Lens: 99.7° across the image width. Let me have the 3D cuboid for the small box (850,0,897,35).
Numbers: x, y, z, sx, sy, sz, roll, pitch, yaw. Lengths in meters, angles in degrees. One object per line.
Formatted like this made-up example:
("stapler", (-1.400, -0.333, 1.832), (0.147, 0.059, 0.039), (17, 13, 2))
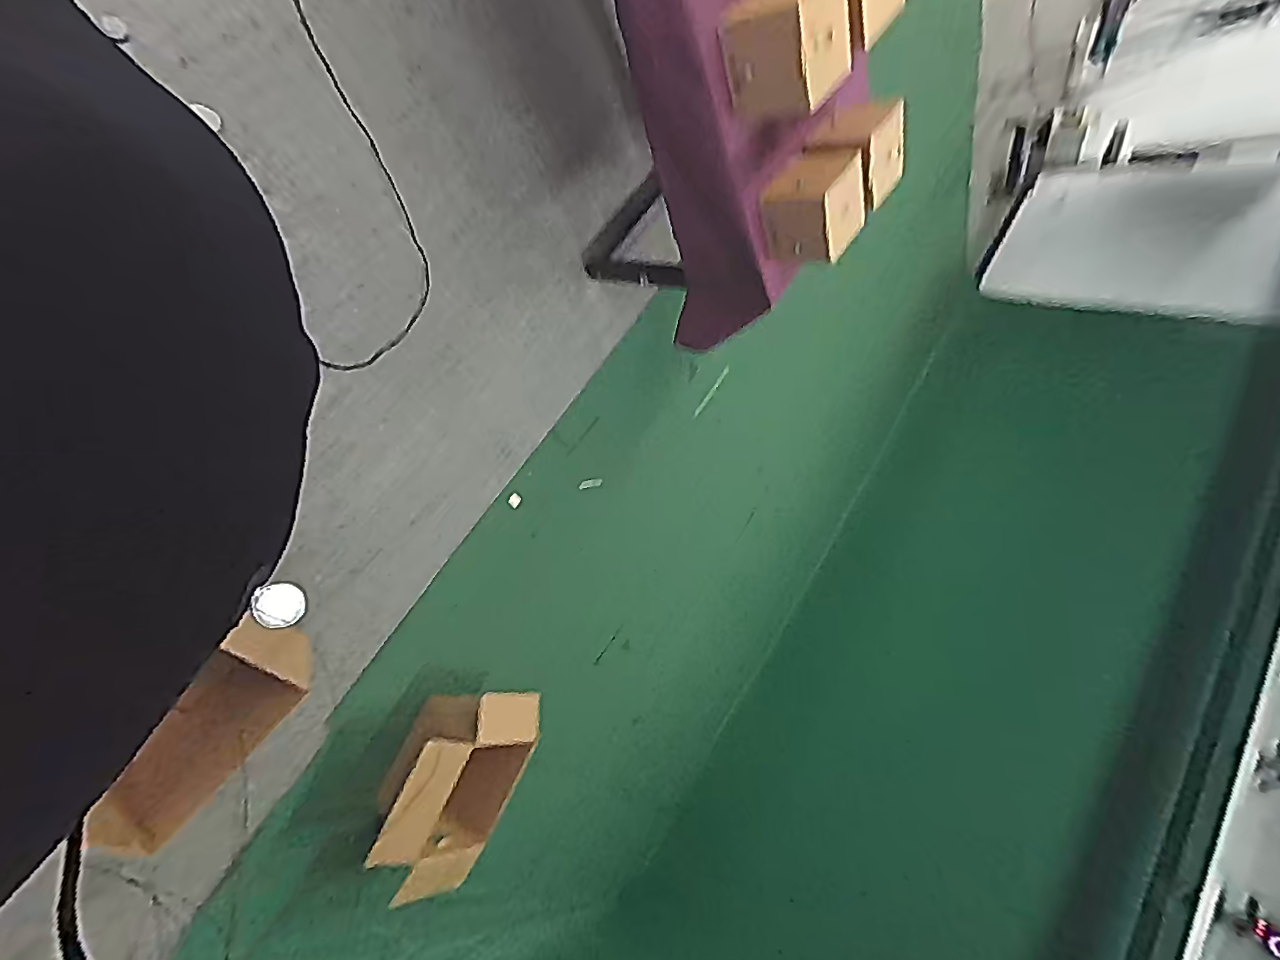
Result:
("small box", (0.407, -1.015, 1.082), (0.179, 0.176, 0.168), (-55, 141, -15))

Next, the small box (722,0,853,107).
("small box", (0.279, -0.837, 1.016), (0.179, 0.176, 0.168), (-51, 140, -19))

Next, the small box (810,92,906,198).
("small box", (0.530, -0.814, 1.327), (0.179, 0.176, 0.168), (-50, 139, -20))
